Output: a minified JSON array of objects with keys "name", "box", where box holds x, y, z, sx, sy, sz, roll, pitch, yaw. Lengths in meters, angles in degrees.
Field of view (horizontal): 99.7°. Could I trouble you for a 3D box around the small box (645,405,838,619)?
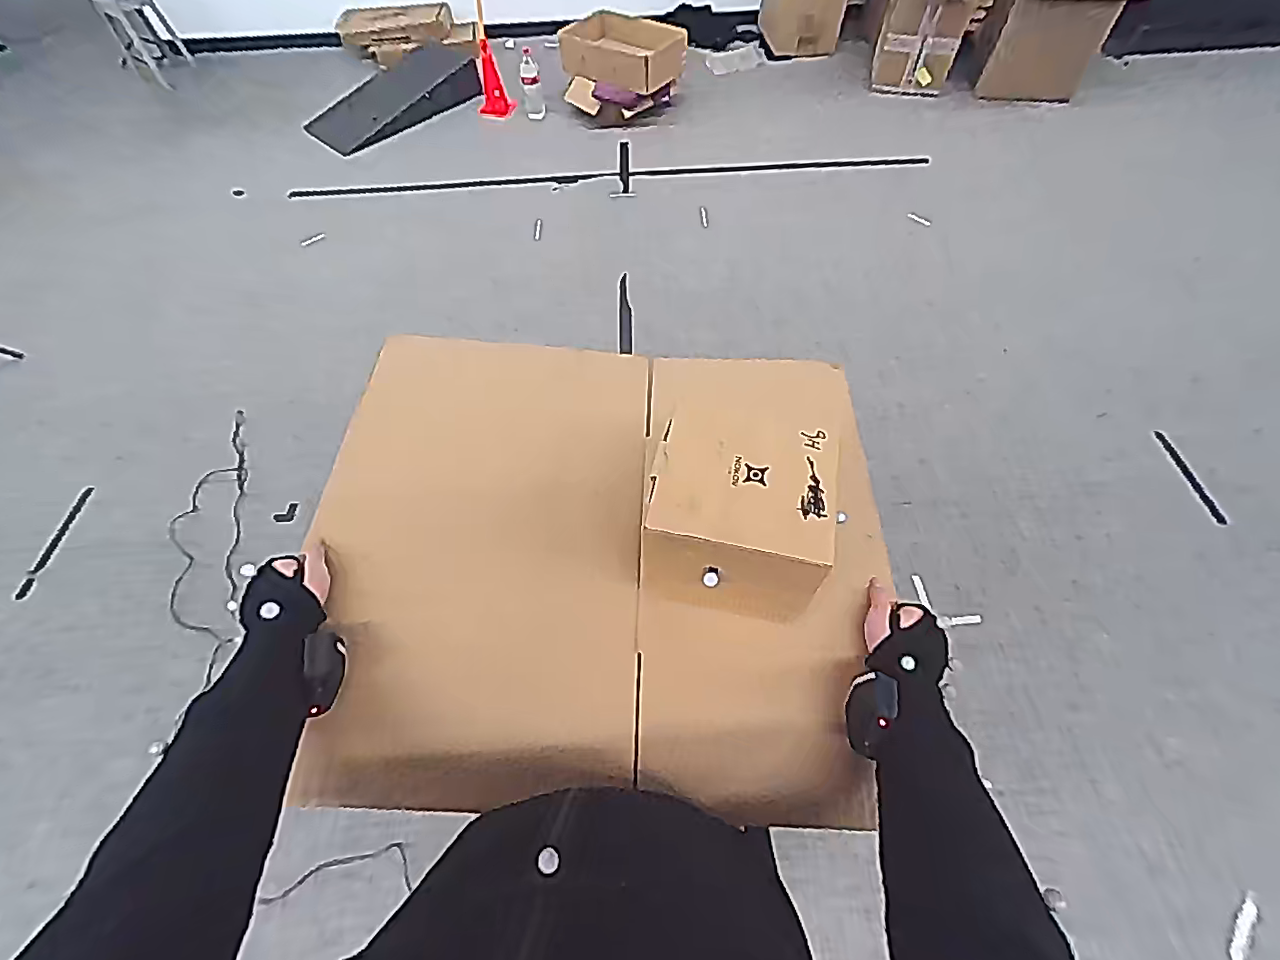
[{"name":"small box","box":[0.110,0.041,0.607,0.179,0.176,0.168,10,59,9]}]
